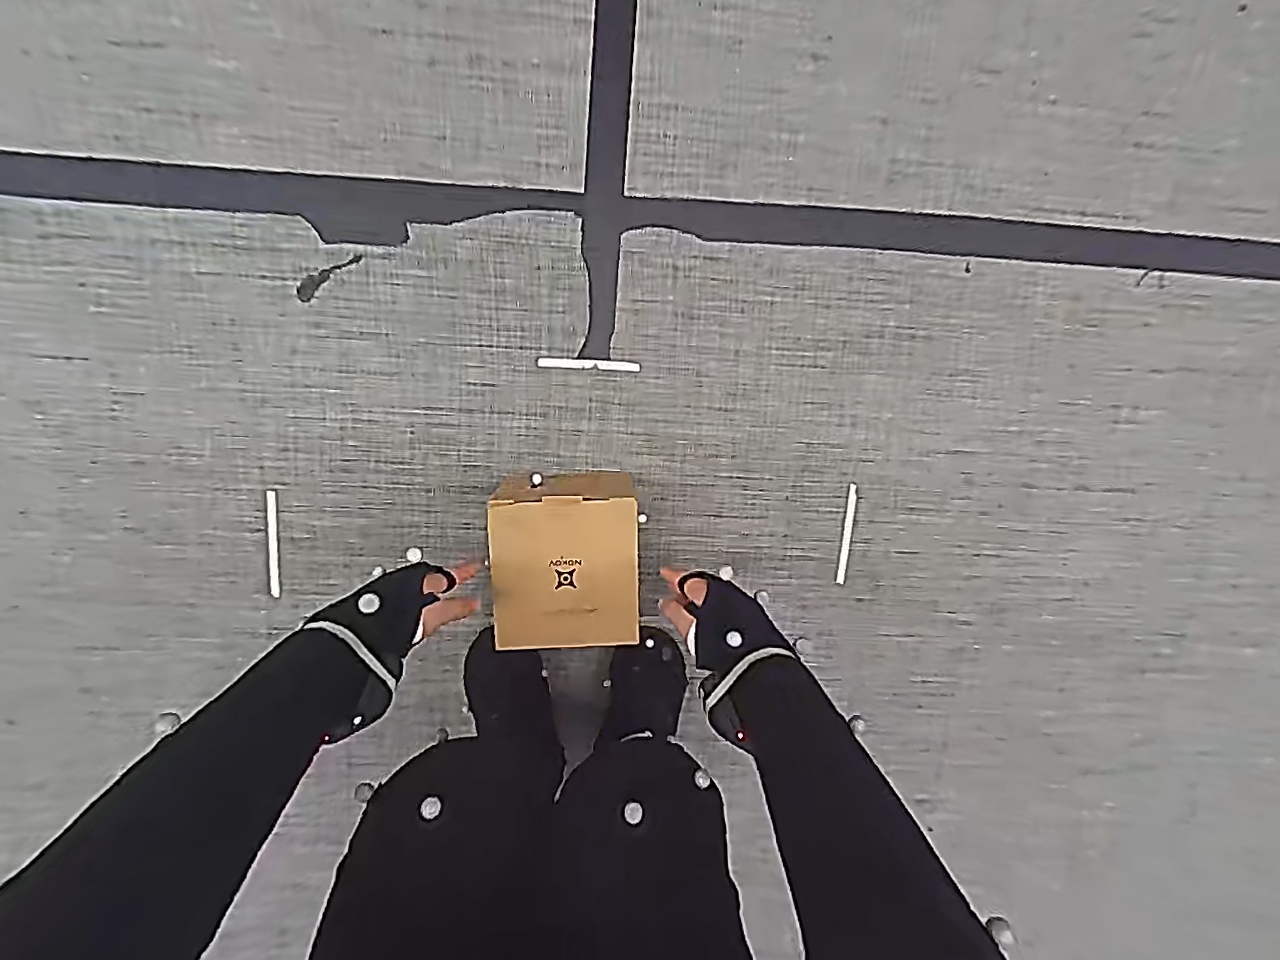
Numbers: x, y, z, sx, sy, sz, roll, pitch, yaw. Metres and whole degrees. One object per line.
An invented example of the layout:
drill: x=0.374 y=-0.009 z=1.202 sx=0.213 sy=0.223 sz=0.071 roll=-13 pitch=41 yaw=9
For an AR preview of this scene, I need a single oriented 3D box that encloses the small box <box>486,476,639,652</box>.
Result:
small box: x=-0.089 y=0.092 z=0.676 sx=0.168 sy=0.176 sz=0.179 roll=-2 pitch=101 yaw=-3
